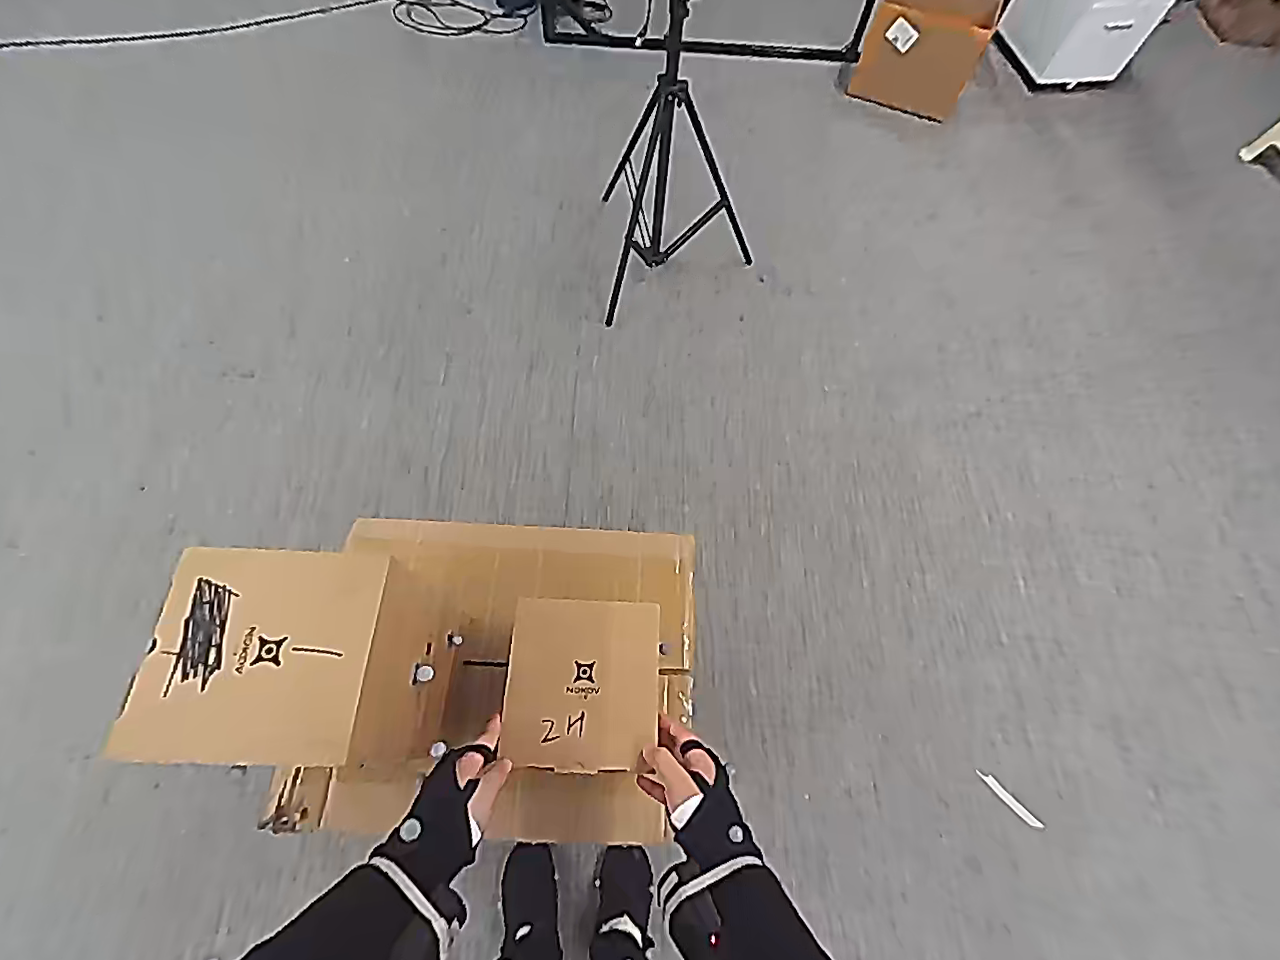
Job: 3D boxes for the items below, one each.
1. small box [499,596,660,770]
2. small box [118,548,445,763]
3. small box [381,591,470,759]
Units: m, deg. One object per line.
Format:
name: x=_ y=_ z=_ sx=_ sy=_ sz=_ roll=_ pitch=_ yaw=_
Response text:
small box: x=-0.063 y=0.252 z=0.662 sx=0.168 sy=0.176 sz=0.179 roll=2 pitch=64 yaw=0
small box: x=-0.305 y=0.170 z=0.511 sx=0.179 sy=0.176 sz=0.168 roll=2 pitch=65 yaw=-3
small box: x=-0.316 y=0.237 z=0.661 sx=0.168 sy=0.176 sz=0.179 roll=2 pitch=66 yaw=-1
